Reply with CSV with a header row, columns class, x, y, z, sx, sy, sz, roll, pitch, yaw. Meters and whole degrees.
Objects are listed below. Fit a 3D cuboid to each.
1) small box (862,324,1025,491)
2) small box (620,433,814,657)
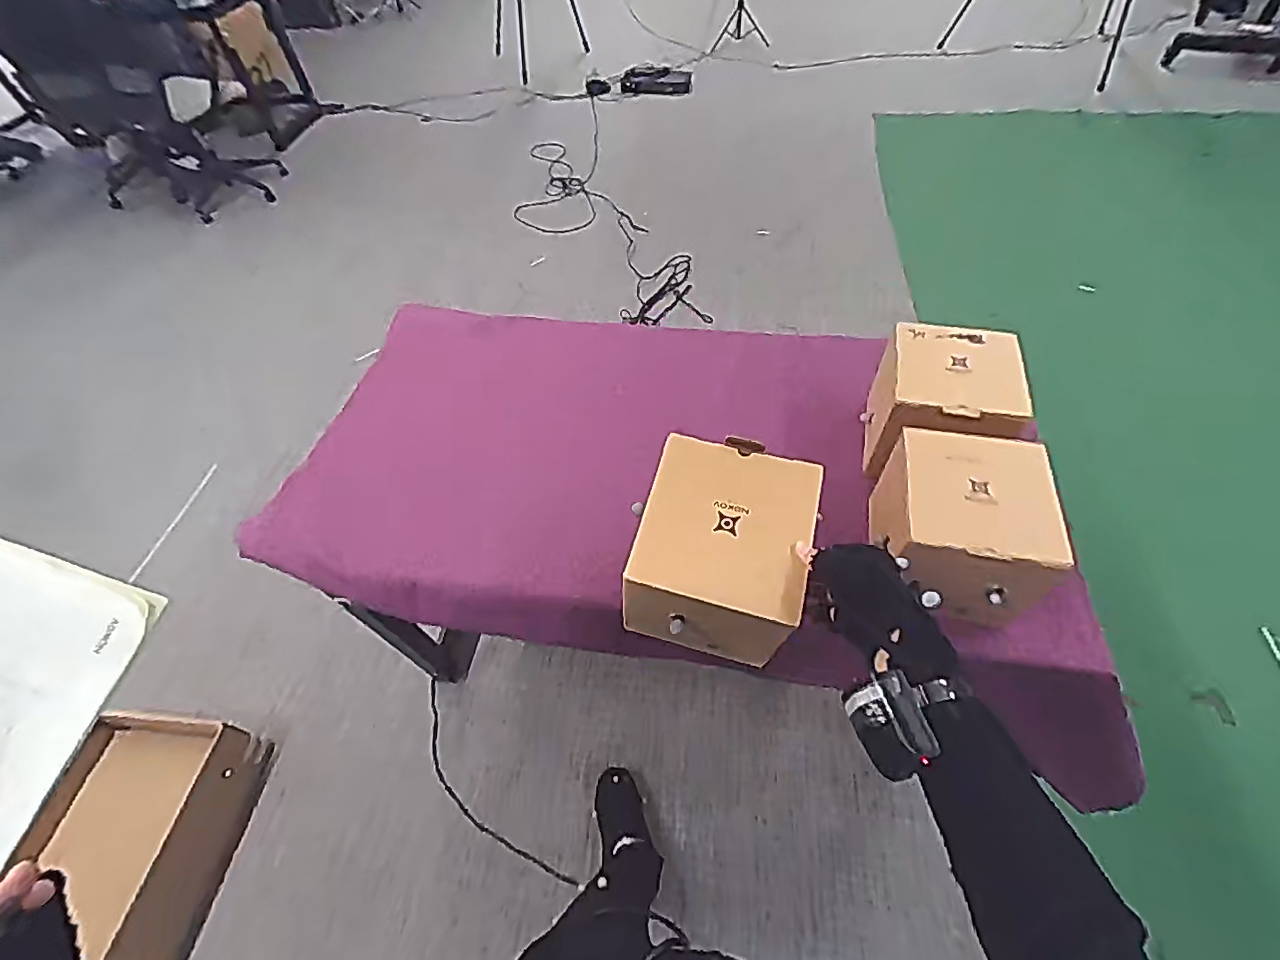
class,x,y,z,sx,sy,sz,roll,pitch,yaw
small box,0.443,-0.105,0.815,0.168,0.176,0.179,11,56,12
small box,0.083,0.079,0.603,0.168,0.176,0.179,13,58,8
